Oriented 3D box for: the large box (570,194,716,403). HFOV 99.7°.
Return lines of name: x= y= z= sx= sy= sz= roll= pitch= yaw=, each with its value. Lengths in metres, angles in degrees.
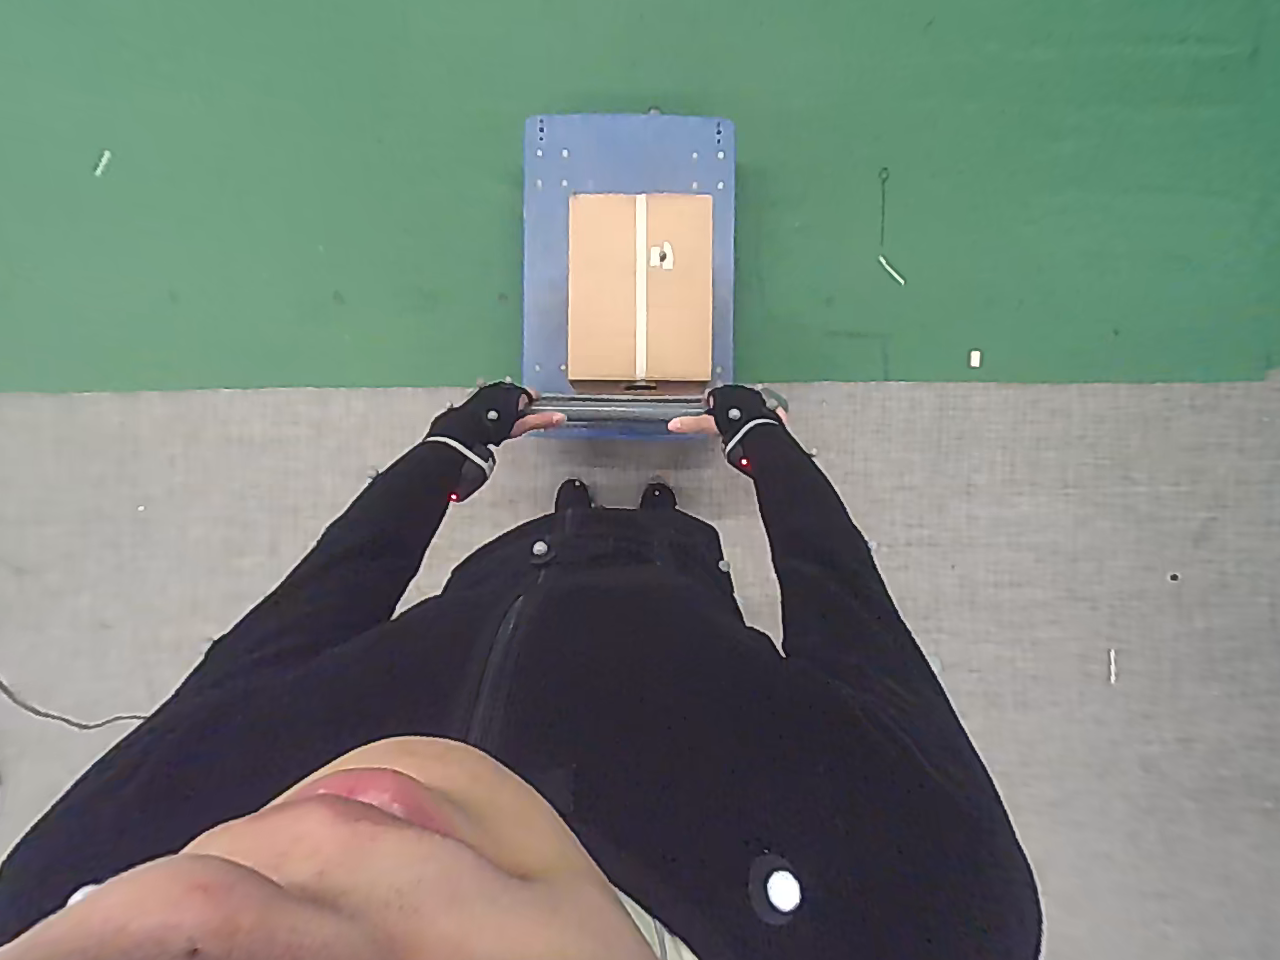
large box: x=0.006 y=-0.408 z=1.300 sx=0.320 sy=0.320 sz=0.408 roll=1 pitch=89 yaw=-1
